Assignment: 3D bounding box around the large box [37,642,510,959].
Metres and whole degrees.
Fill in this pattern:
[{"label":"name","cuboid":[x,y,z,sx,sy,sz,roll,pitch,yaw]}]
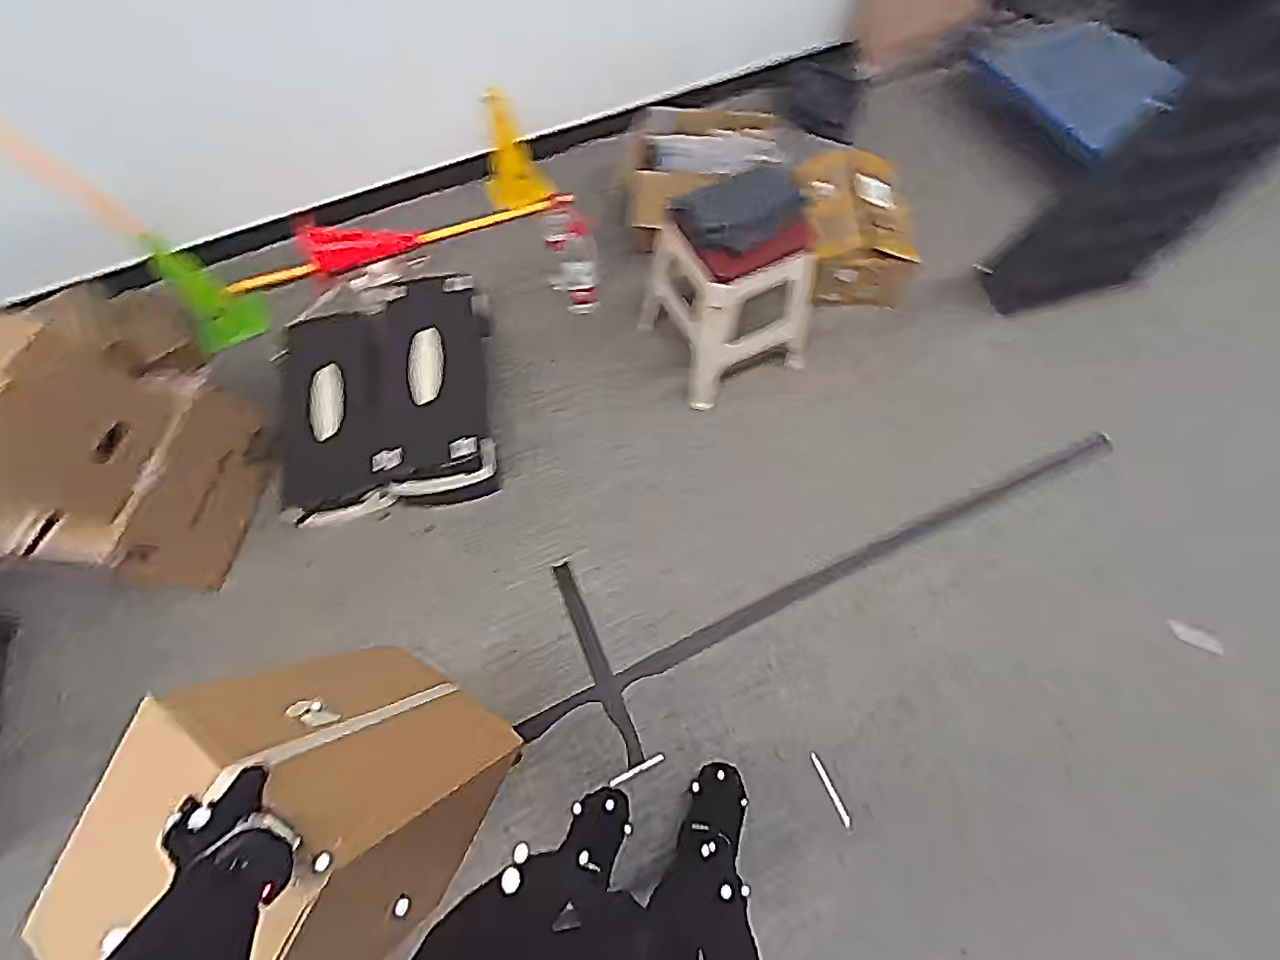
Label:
[{"label":"large box","cuboid":[-0.466,0.480,0.774,0.320,0.408,0.320,29,92,18]}]
